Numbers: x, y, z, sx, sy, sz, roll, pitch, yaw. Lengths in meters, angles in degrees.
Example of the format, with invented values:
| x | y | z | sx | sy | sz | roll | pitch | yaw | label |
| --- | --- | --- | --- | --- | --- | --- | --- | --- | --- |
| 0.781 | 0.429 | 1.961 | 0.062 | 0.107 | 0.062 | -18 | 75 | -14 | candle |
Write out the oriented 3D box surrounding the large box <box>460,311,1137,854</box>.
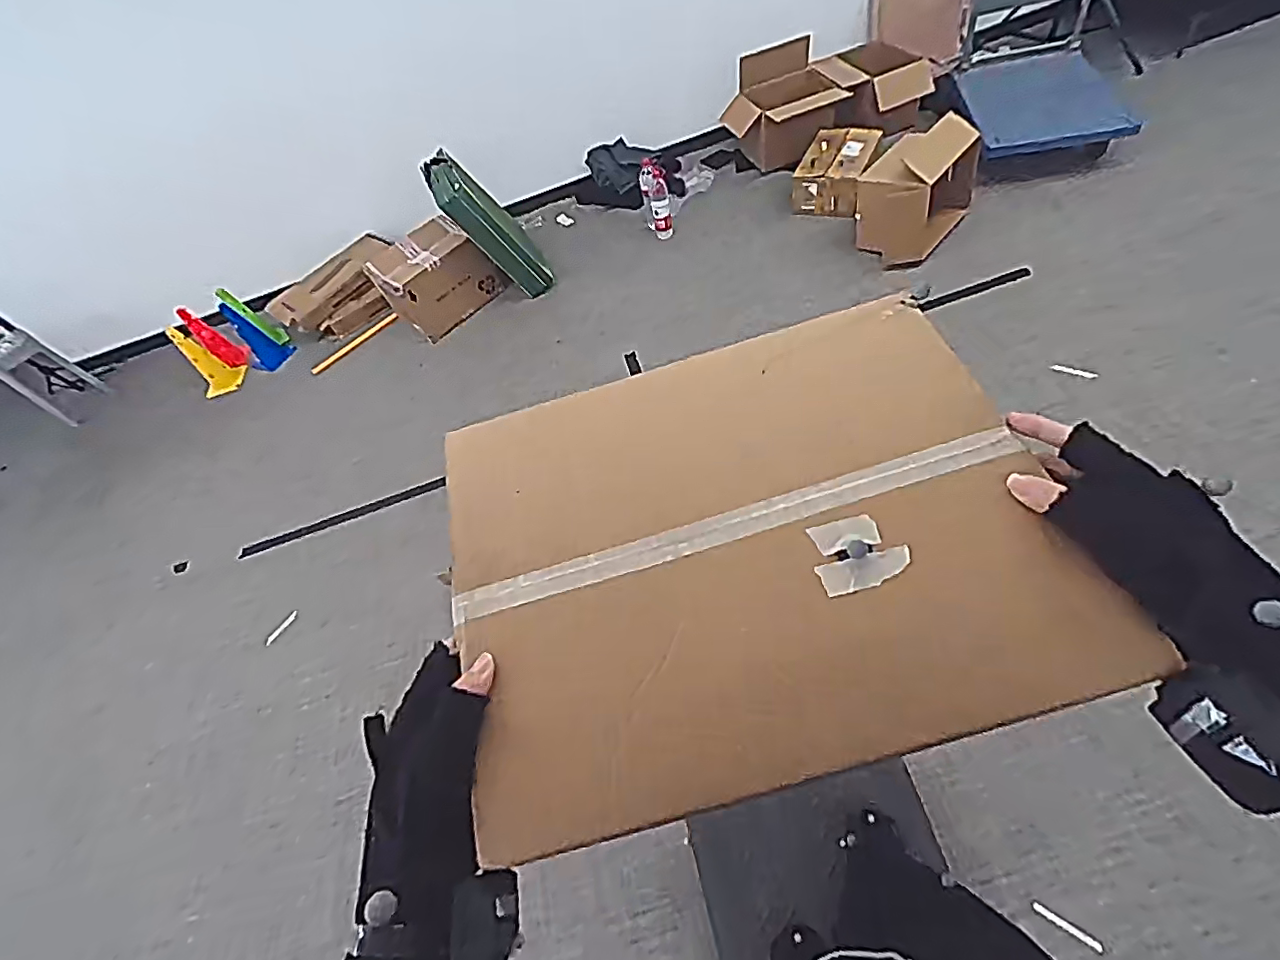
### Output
| x | y | z | sx | sy | sz | roll | pitch | yaw | label |
| --- | --- | --- | --- | --- | --- | --- | --- | --- | --- |
| 0.092 | 0.110 | 0.522 | 0.408 | 0.320 | 0.320 | -17 | 60 | 1 | large box |
